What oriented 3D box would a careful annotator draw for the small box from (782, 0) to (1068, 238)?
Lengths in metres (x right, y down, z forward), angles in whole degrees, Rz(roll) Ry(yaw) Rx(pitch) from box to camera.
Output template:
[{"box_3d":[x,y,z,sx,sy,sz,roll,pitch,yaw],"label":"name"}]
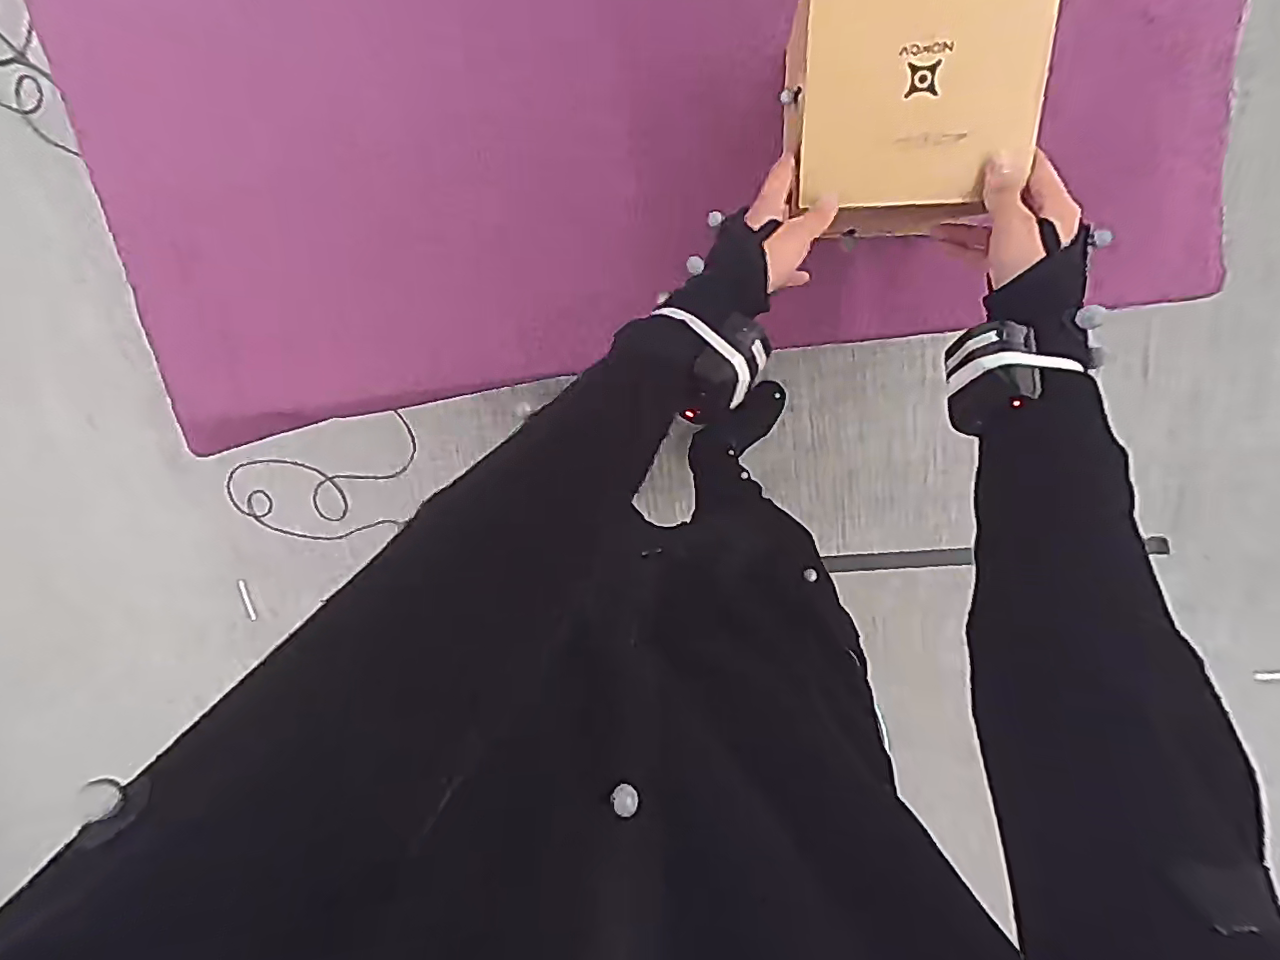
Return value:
[{"box_3d":[0.216,-0.312,0.457,0.168,0.176,0.179,3,107,9],"label":"small box"}]
